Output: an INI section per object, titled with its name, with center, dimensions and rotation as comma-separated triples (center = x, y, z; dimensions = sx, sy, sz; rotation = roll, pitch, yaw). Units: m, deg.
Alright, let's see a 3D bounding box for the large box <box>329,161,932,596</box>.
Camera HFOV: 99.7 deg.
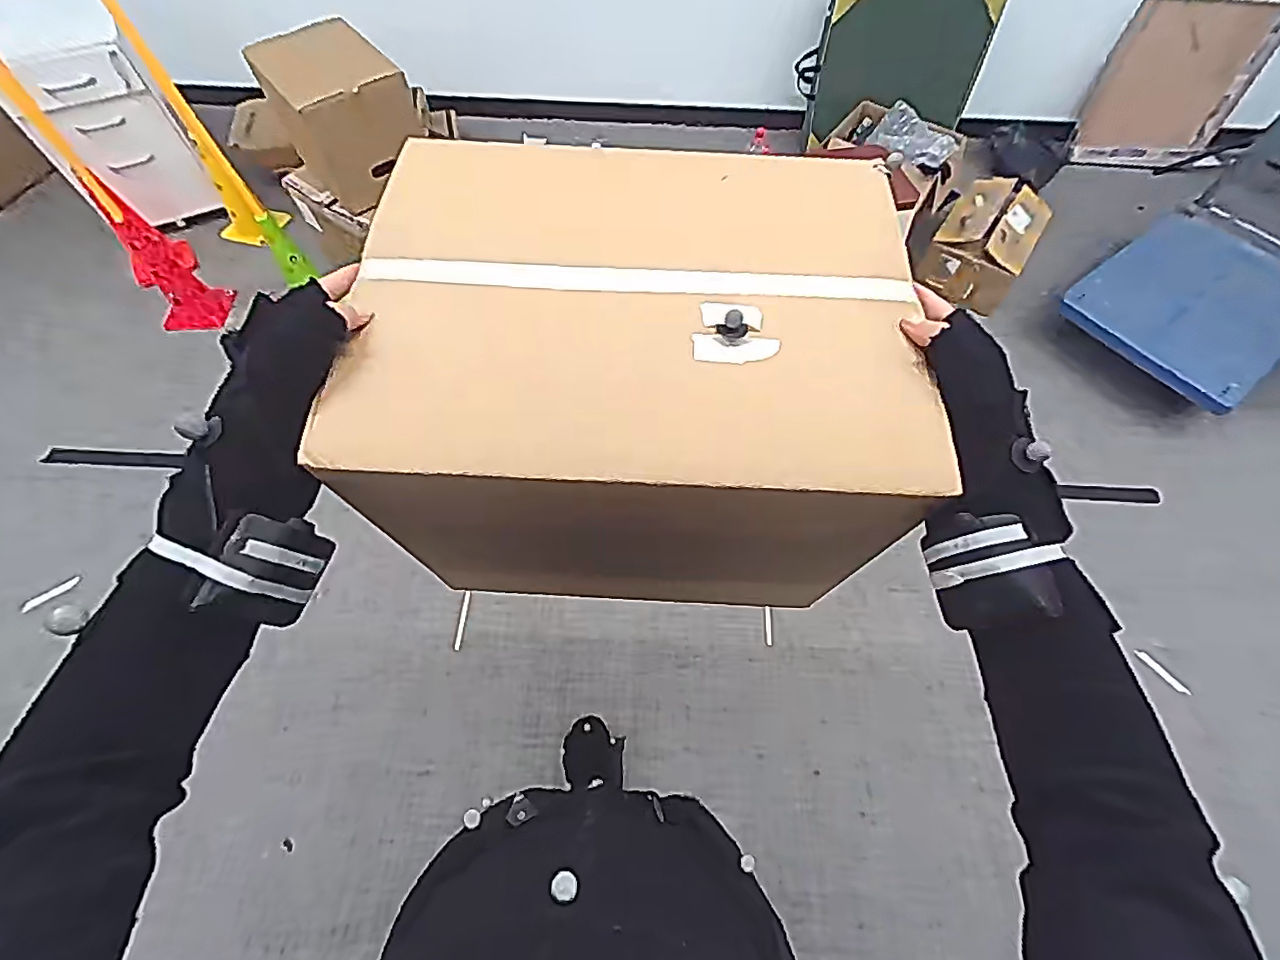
[large box]
center = -0.006, -0.074, 0.548
dimensions = 0.408, 0.320, 0.320
rotation = 3, 65, 0
